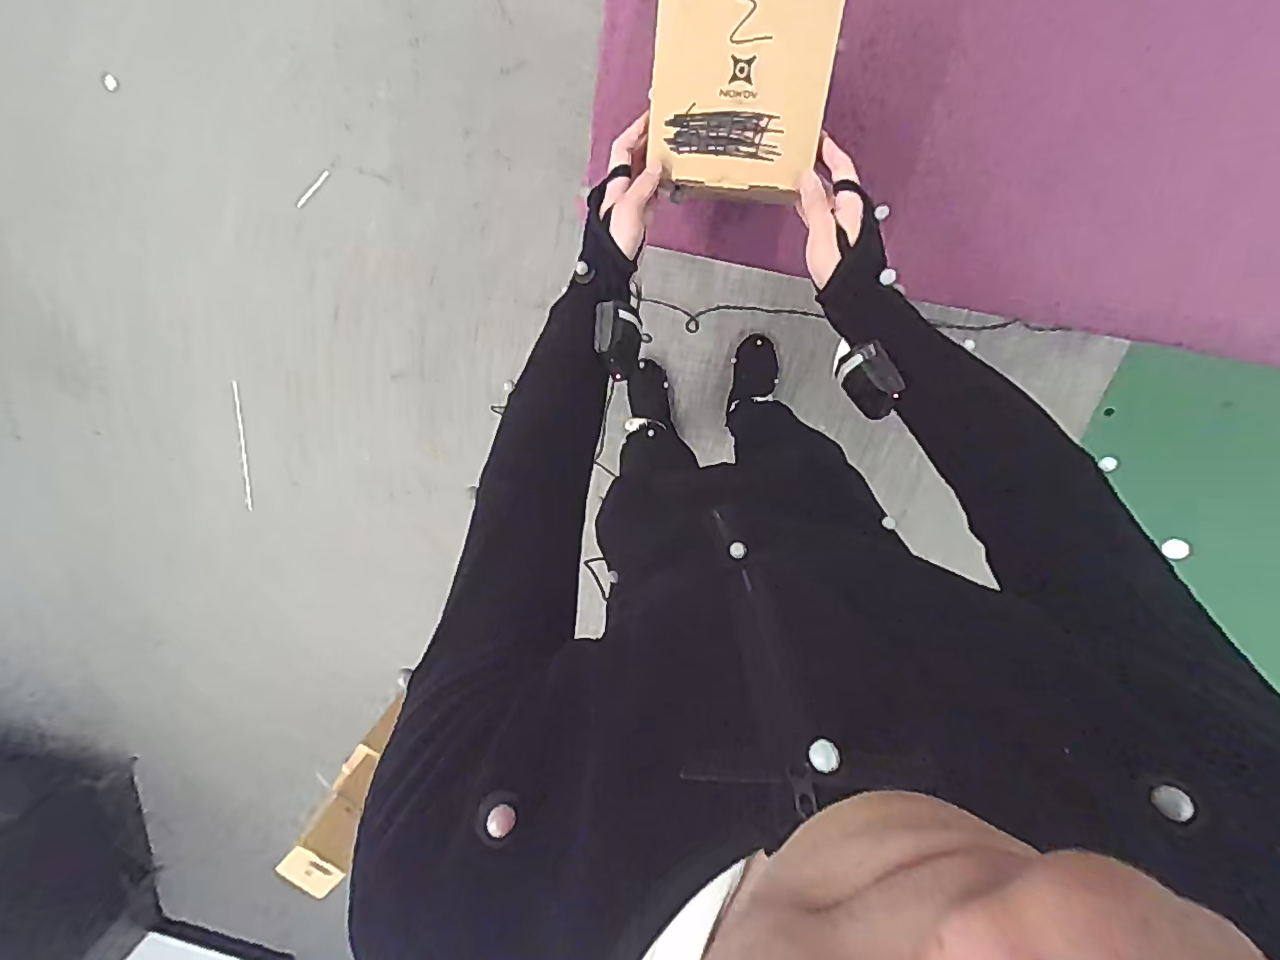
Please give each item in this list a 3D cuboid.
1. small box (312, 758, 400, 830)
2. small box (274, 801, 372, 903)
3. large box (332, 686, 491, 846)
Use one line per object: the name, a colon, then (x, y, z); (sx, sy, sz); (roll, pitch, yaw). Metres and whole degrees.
small box: (-0.944, 1.081, 1.813); (0.168, 0.176, 0.179); (40, 109, -7)
small box: (-0.960, 1.134, 1.659); (0.168, 0.176, 0.179); (41, 110, -7)
large box: (-0.858, 1.078, 2.062); (0.408, 0.320, 0.320); (34, 112, -5)
